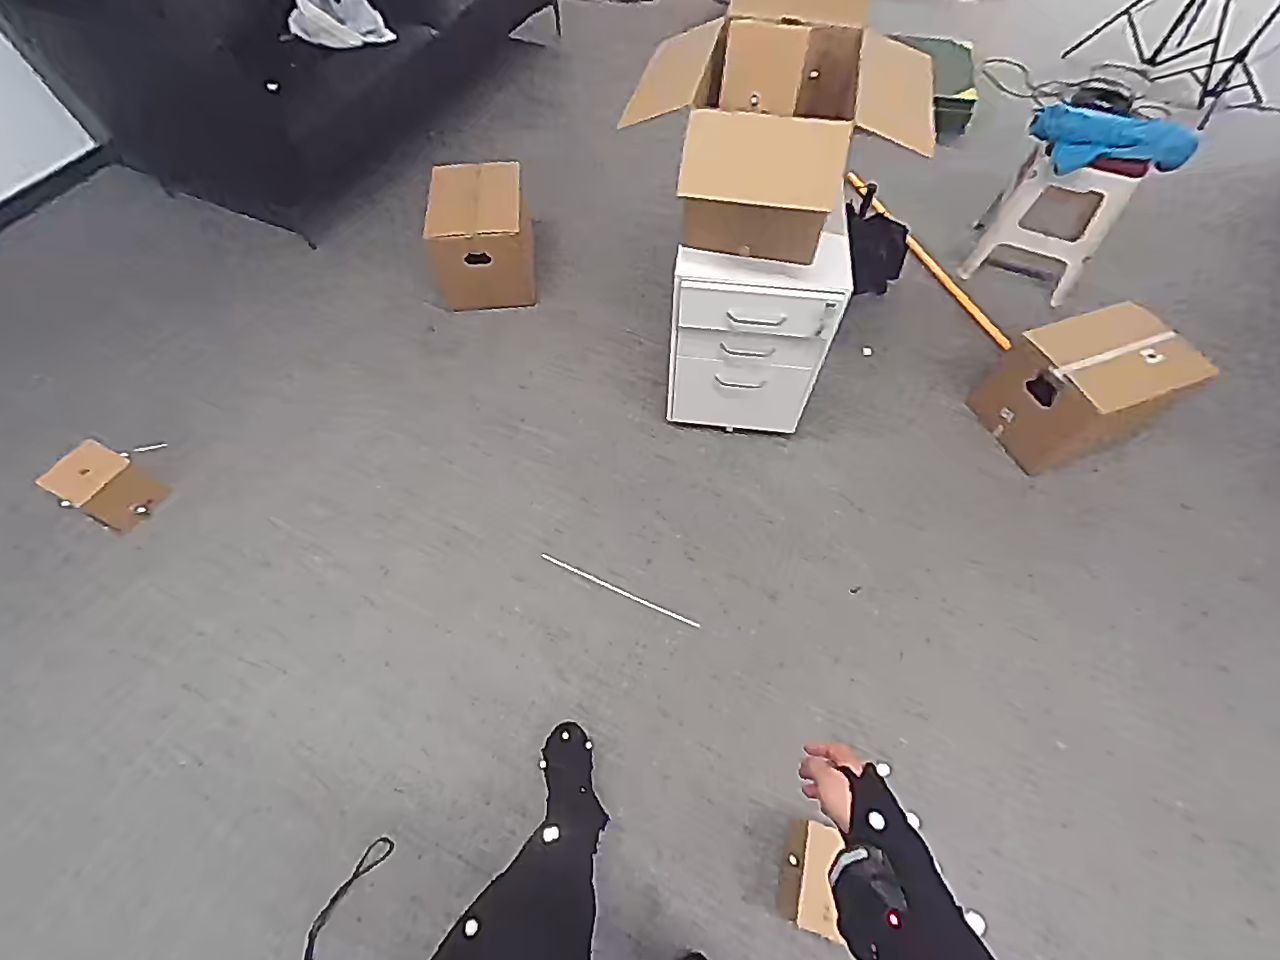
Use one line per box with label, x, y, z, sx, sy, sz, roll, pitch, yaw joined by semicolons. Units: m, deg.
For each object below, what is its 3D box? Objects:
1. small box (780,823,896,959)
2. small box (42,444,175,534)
small box;0.386;0.804;1.070;0.168;0.176;0.179;15;61;9
small box;-1.516;0.031;1.555;0.179;0.176;0.168;23;63;12
